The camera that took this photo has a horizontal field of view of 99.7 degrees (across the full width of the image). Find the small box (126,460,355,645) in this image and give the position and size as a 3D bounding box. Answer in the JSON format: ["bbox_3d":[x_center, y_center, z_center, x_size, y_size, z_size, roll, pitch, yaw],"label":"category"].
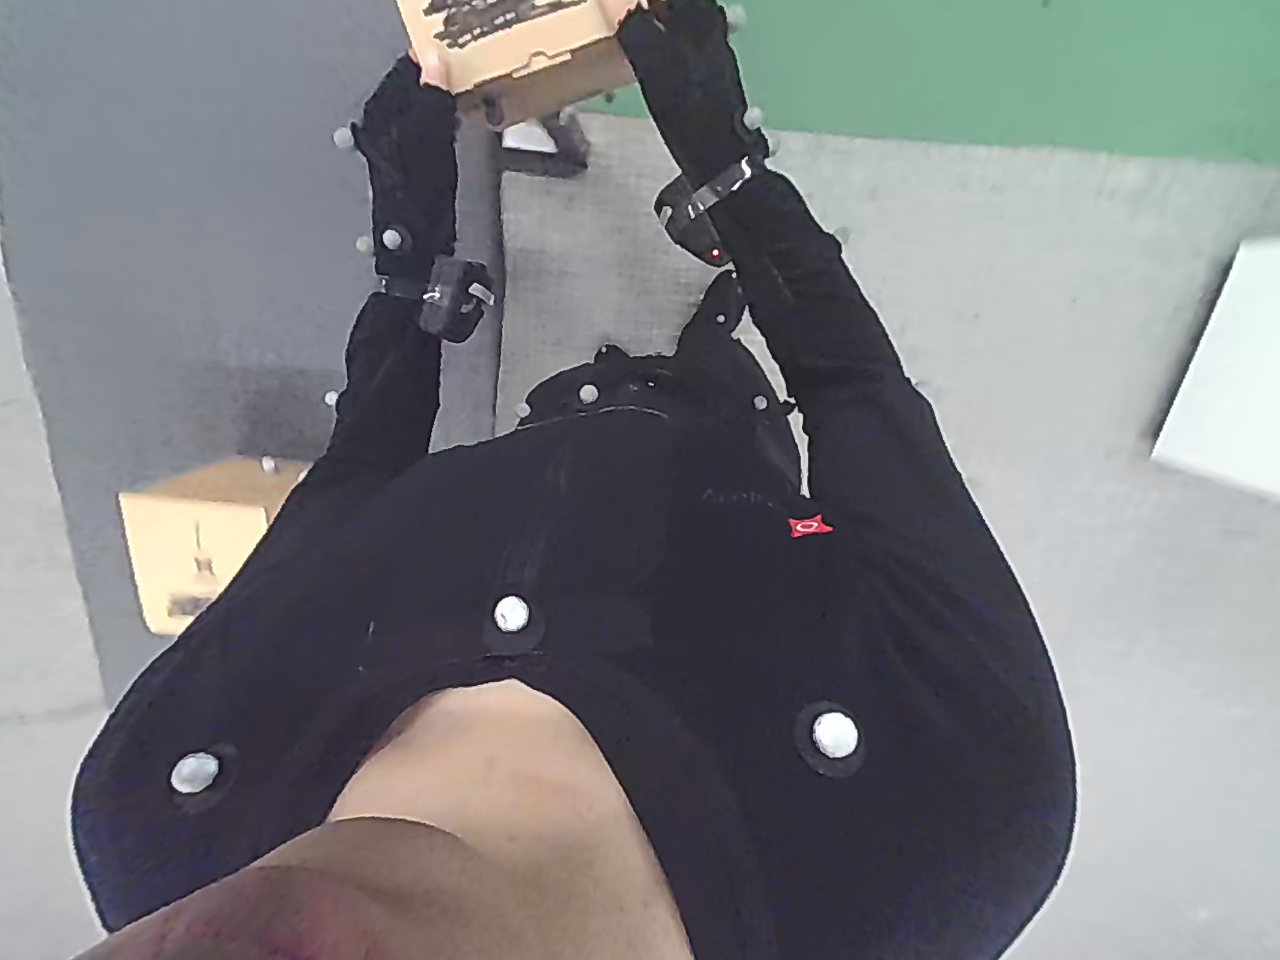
[{"bbox_3d":[-0.494,0.084,0.699,0.168,0.176,0.179,5,106,1],"label":"small box"}]
